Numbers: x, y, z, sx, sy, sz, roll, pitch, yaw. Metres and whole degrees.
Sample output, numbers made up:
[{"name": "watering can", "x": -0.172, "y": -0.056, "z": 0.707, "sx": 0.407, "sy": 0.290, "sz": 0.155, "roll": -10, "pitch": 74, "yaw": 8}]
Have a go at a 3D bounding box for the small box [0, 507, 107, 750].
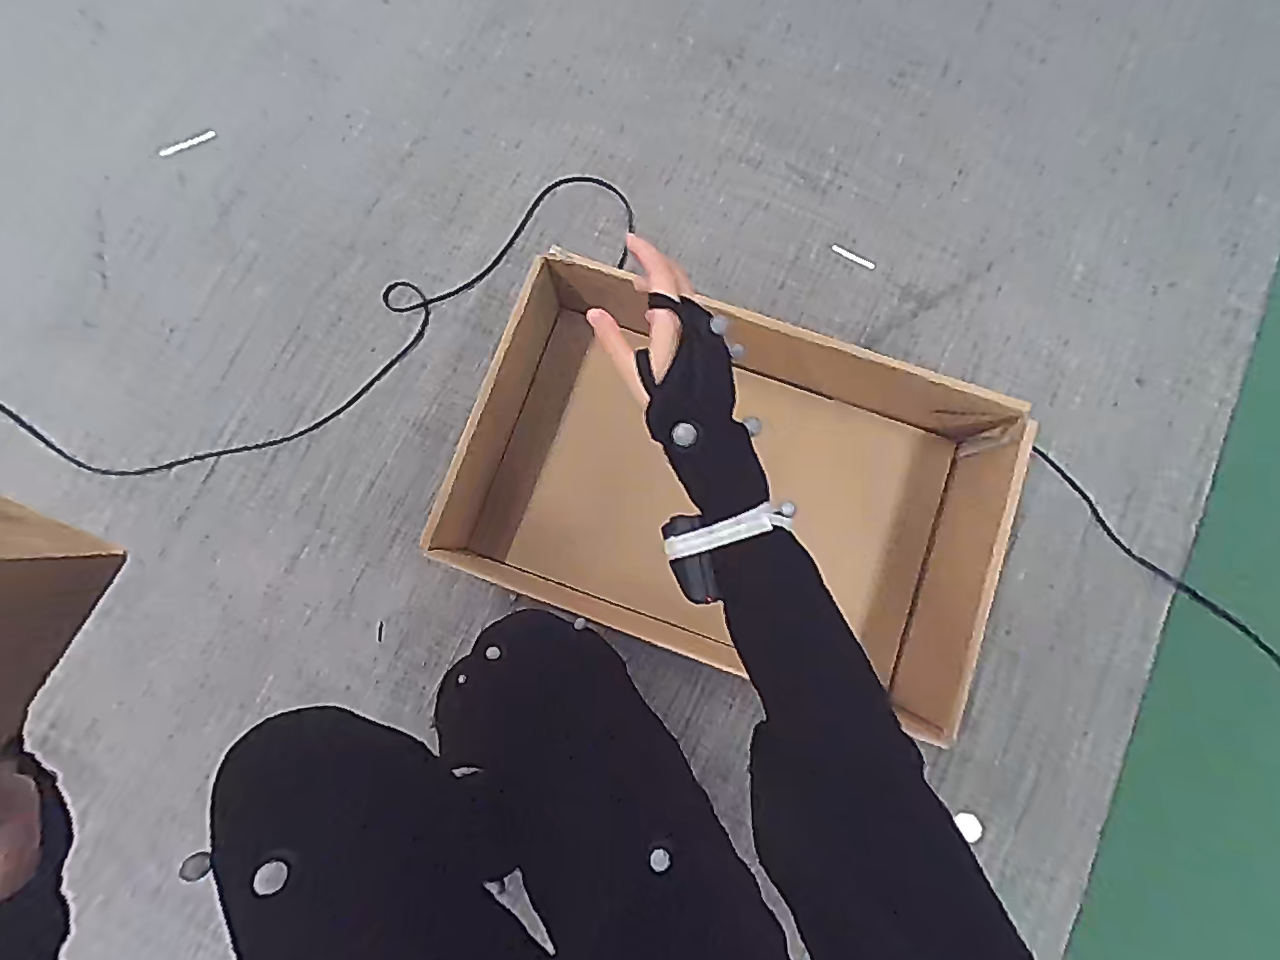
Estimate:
[{"name": "small box", "x": -0.378, "y": 0.080, "z": 0.201, "sx": 0.168, "sy": 0.176, "sz": 0.179, "roll": 27, "pitch": 79, "yaw": -7}]
